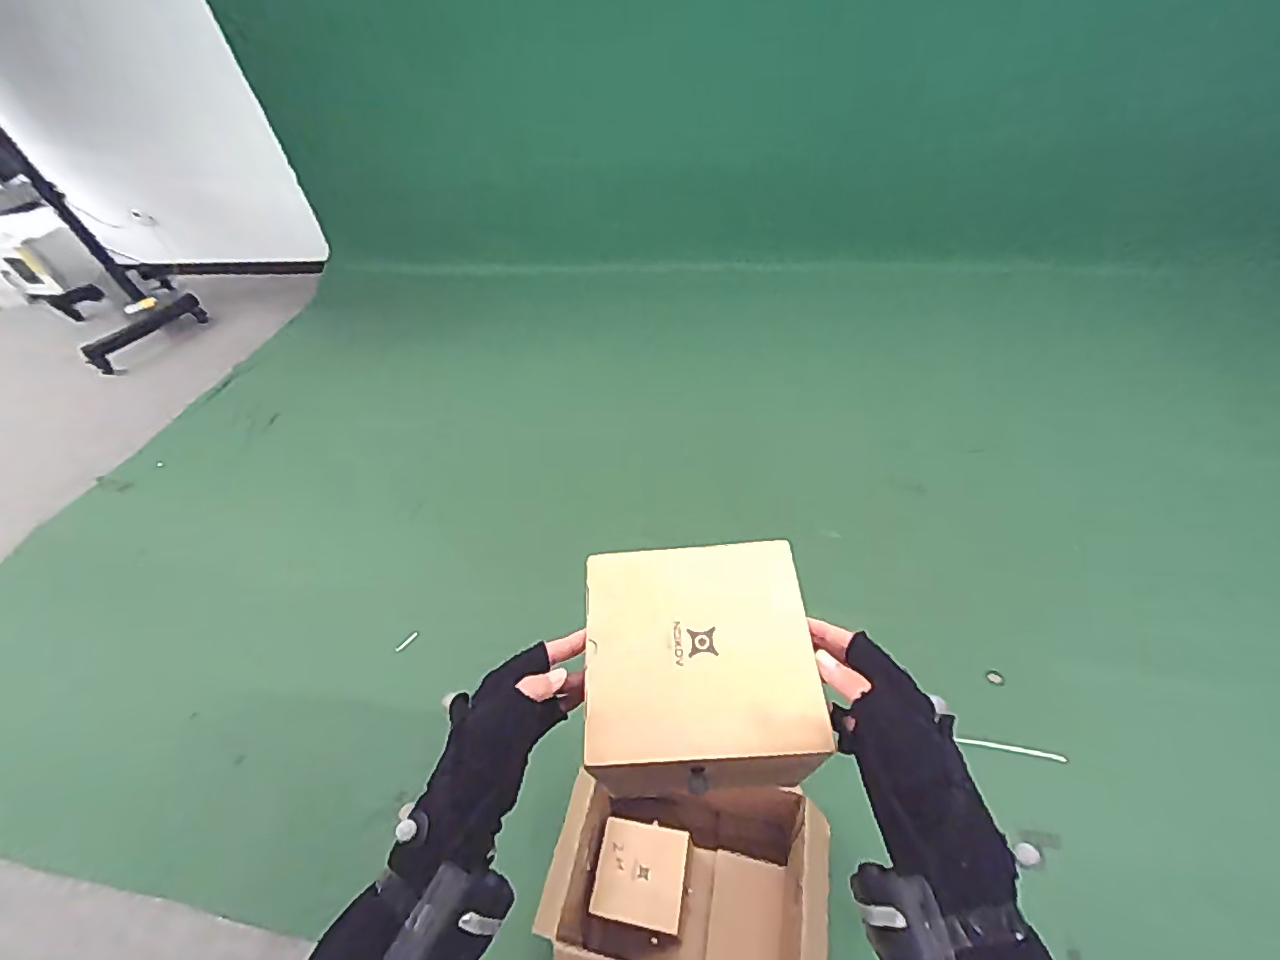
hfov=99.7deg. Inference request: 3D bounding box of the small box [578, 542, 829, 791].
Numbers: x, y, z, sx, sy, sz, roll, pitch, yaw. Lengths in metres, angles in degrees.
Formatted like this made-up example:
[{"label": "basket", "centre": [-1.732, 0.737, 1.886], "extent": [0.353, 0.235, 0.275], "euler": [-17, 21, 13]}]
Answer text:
[{"label": "small box", "centre": [0.048, 0.172, 0.481], "extent": [0.179, 0.176, 0.168], "euler": [-6, 53, 4]}]
